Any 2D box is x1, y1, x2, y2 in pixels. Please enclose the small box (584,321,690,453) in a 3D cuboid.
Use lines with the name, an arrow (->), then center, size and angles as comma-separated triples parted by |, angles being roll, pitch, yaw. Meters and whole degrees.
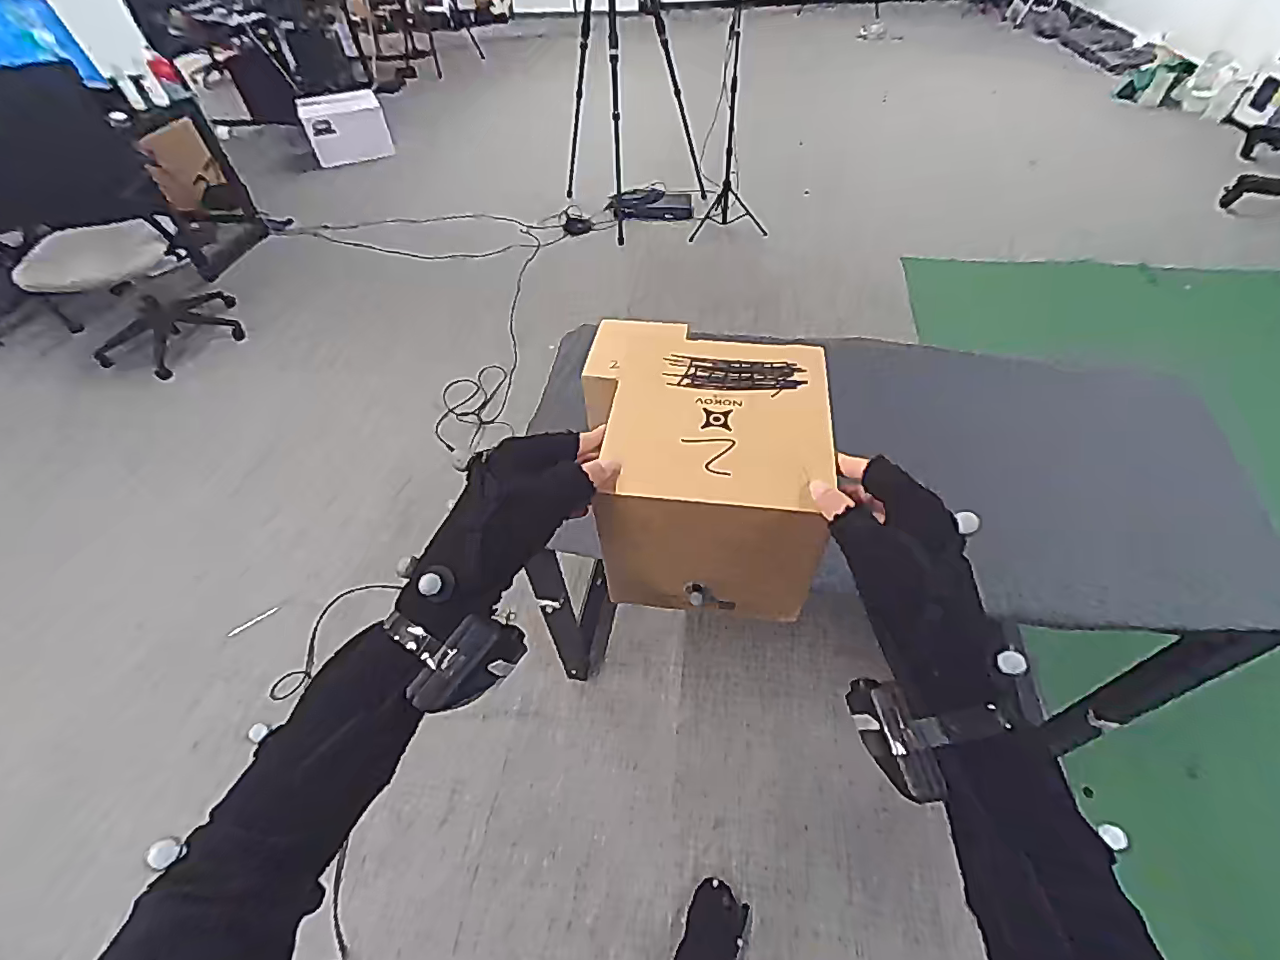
small box -> 0.000, -0.175, 1.017 | 0.168, 0.176, 0.179 | 6, 49, 8
